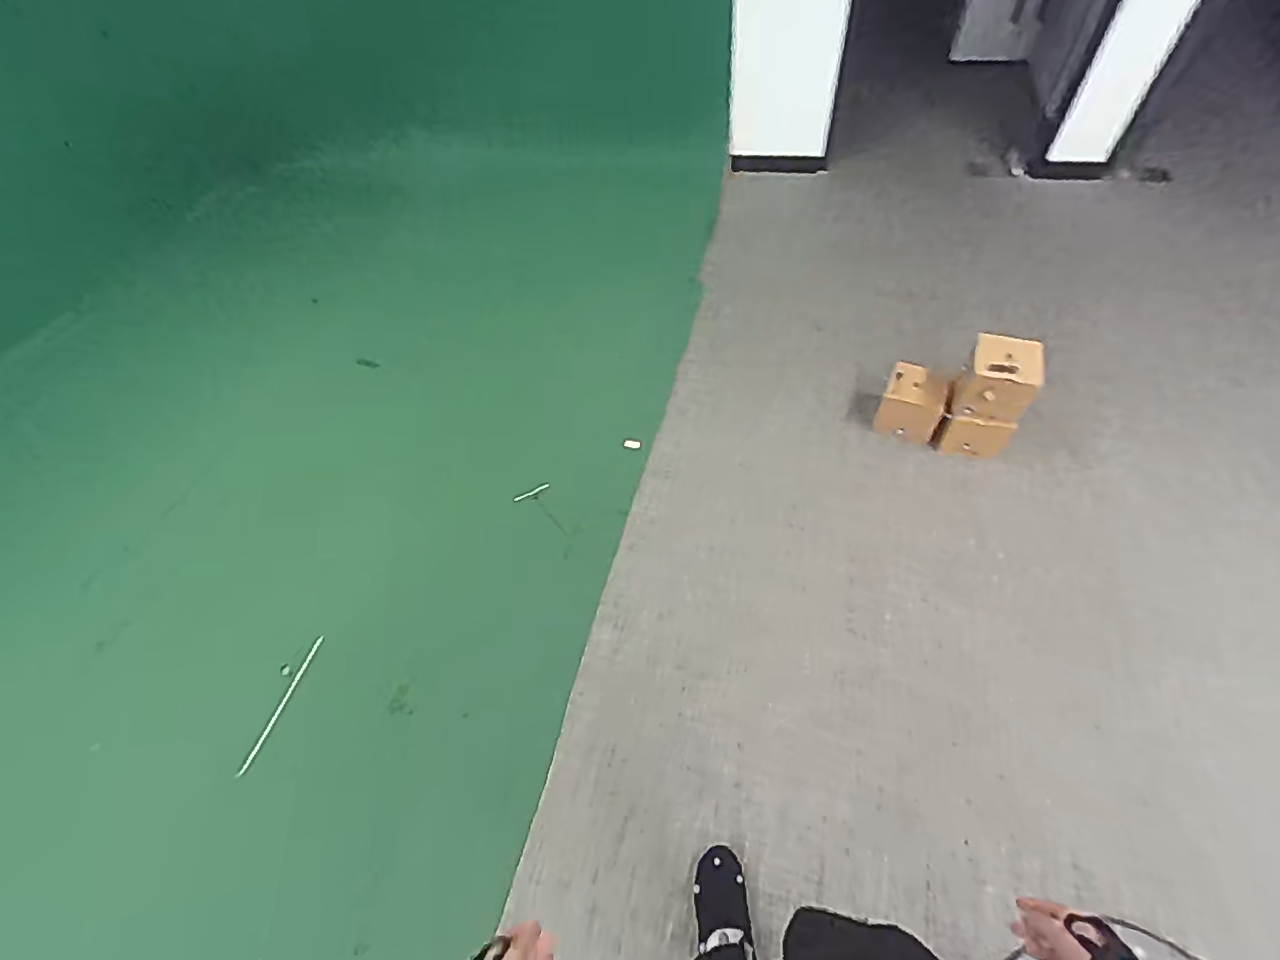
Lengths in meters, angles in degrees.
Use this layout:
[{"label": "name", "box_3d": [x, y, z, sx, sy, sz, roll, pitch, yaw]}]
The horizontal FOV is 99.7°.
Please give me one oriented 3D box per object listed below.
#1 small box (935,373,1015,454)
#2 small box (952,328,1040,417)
[{"label": "small box", "box_3d": [1.039, -0.208, 1.690, 0.168, 0.176, 0.179, 10, 59, 13]}, {"label": "small box", "box_3d": [1.022, -0.307, 1.559, 0.168, 0.176, 0.179, 15, 60, 17]}]
